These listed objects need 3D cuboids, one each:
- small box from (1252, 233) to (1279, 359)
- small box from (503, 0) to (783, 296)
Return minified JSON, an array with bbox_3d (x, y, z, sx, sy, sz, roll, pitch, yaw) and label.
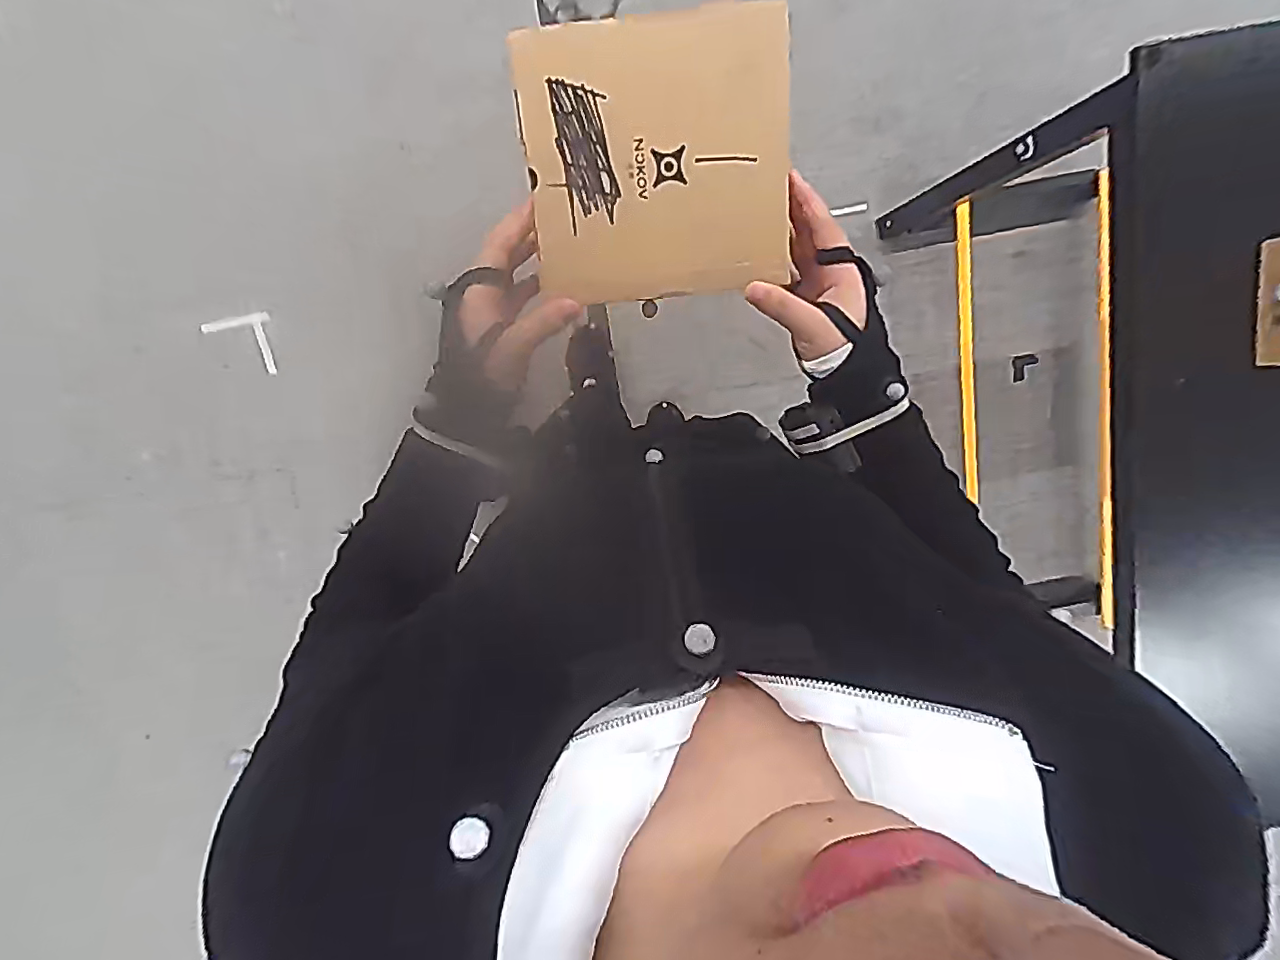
[{"bbox_3d":[0.921,-0.246,0.654,0.179,0.176,0.168,-12,100,1],"label":"small box"},{"bbox_3d":[0.008,-0.240,0.431,0.179,0.176,0.168,-5,109,2],"label":"small box"}]
